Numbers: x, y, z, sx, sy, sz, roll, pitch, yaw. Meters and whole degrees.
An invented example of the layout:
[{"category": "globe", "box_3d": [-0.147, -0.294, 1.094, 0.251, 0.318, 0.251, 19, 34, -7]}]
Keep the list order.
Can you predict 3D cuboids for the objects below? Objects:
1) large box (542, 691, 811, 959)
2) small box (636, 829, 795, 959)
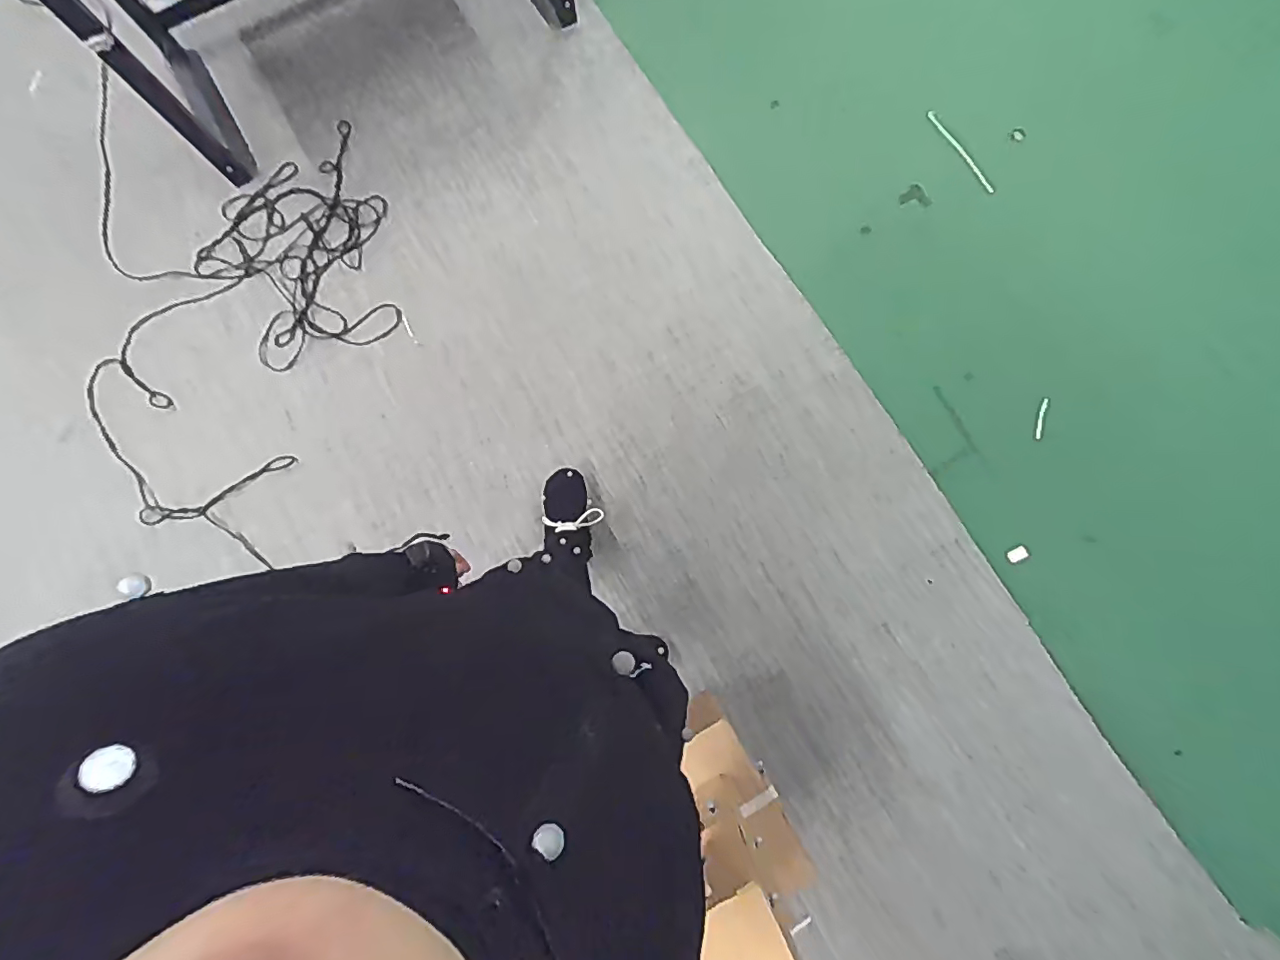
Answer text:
[{"category": "large box", "box_3d": [0.070, 0.706, 1.122, 0.408, 0.320, 0.320, -31, 79, -3]}, {"category": "small box", "box_3d": [0.107, 0.620, 0.723, 0.168, 0.176, 0.179, -25, 79, -3]}]
